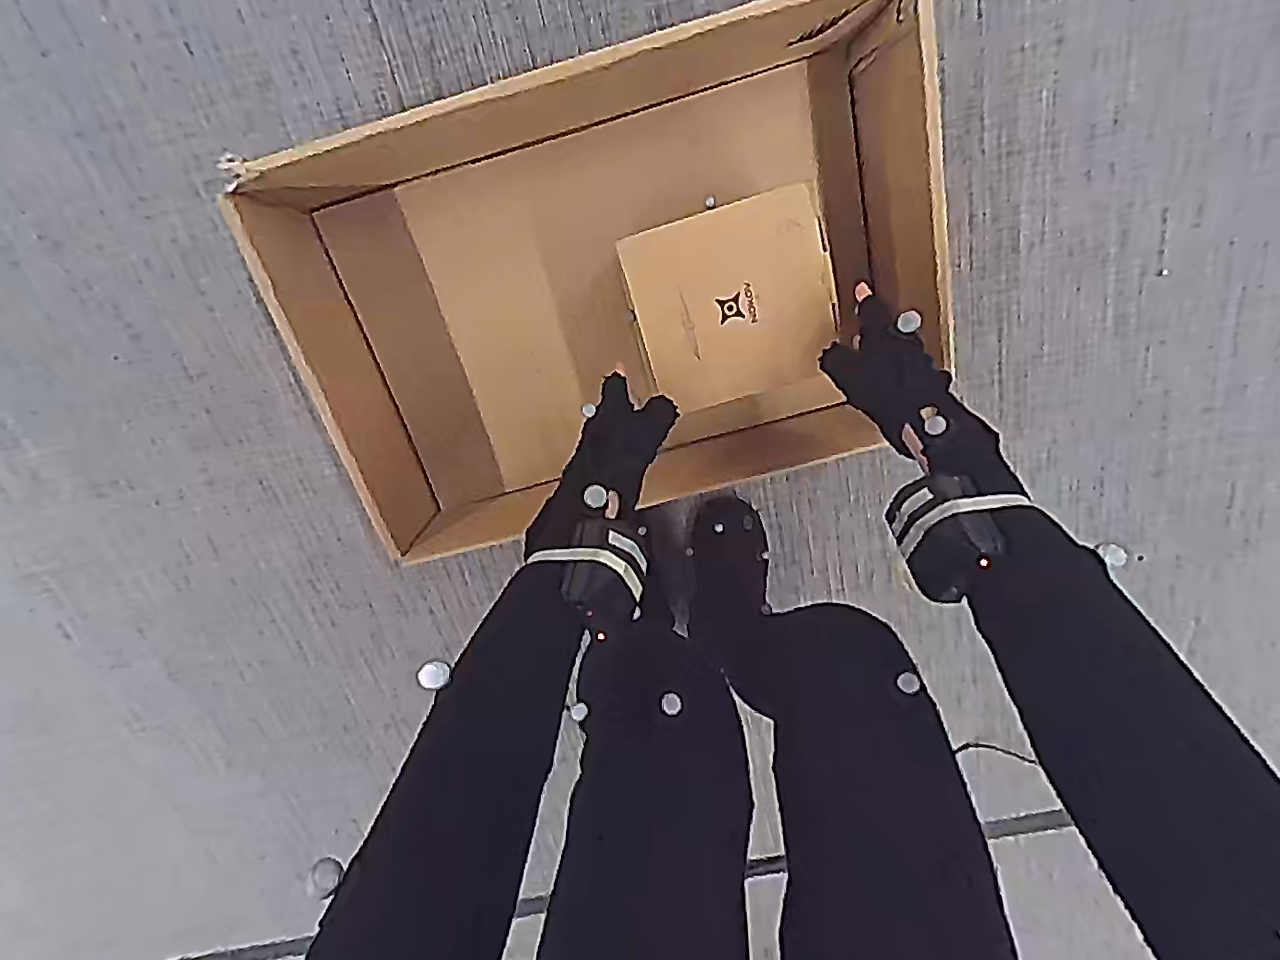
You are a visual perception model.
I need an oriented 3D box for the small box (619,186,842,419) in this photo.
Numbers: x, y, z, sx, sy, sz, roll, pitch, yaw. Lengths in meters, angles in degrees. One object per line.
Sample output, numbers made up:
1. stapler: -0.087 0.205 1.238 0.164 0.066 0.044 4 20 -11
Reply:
1. small box: 0.084 -0.181 0.562 0.179 0.176 0.168 -16 108 6
